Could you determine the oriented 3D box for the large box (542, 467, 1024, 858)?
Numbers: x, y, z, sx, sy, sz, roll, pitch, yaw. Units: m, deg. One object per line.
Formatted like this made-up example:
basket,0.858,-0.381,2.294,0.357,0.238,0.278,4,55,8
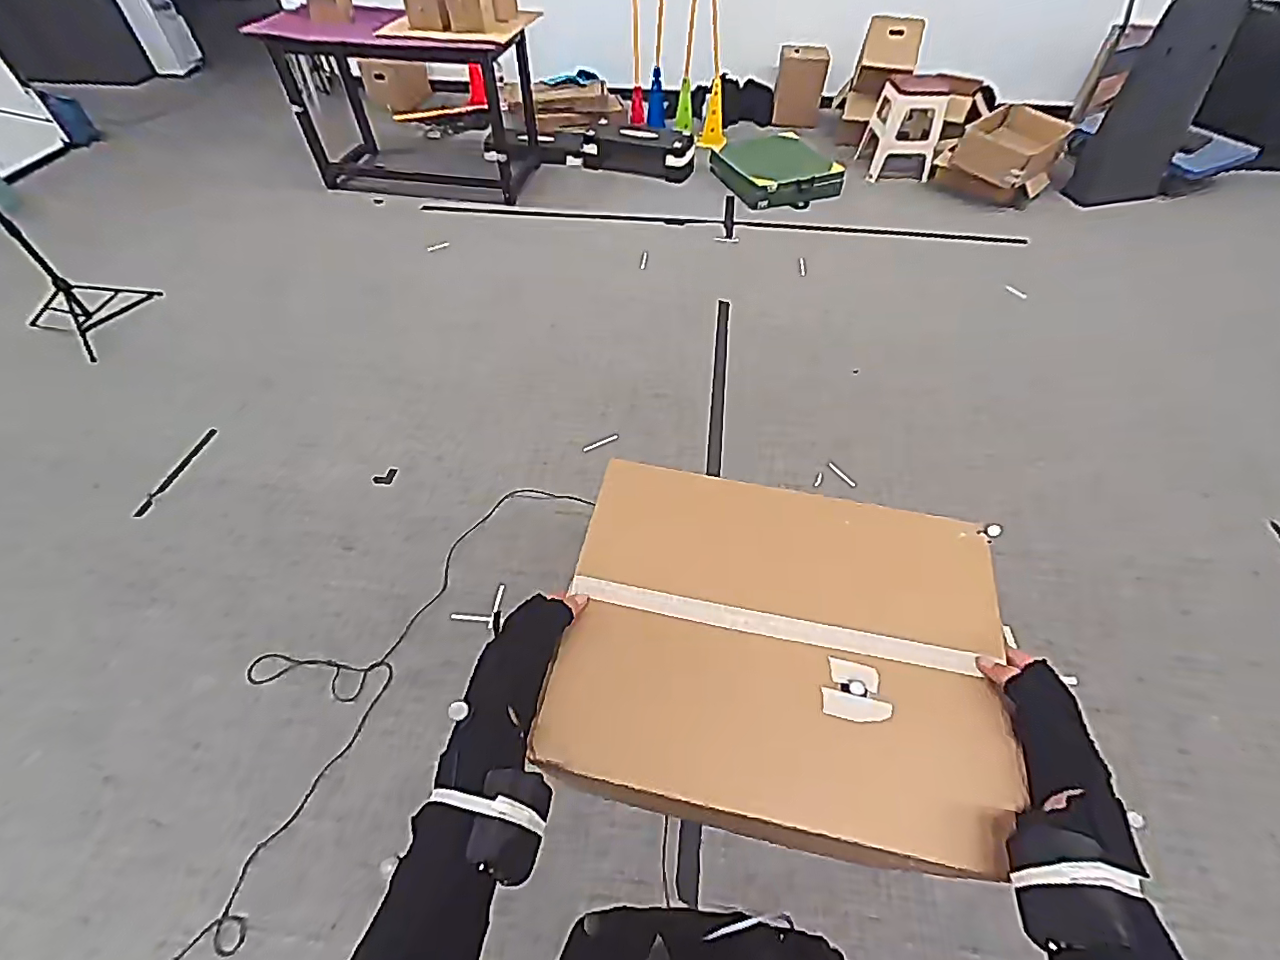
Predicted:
large box,0.133,0.221,0.645,0.408,0.320,0.320,10,58,6
